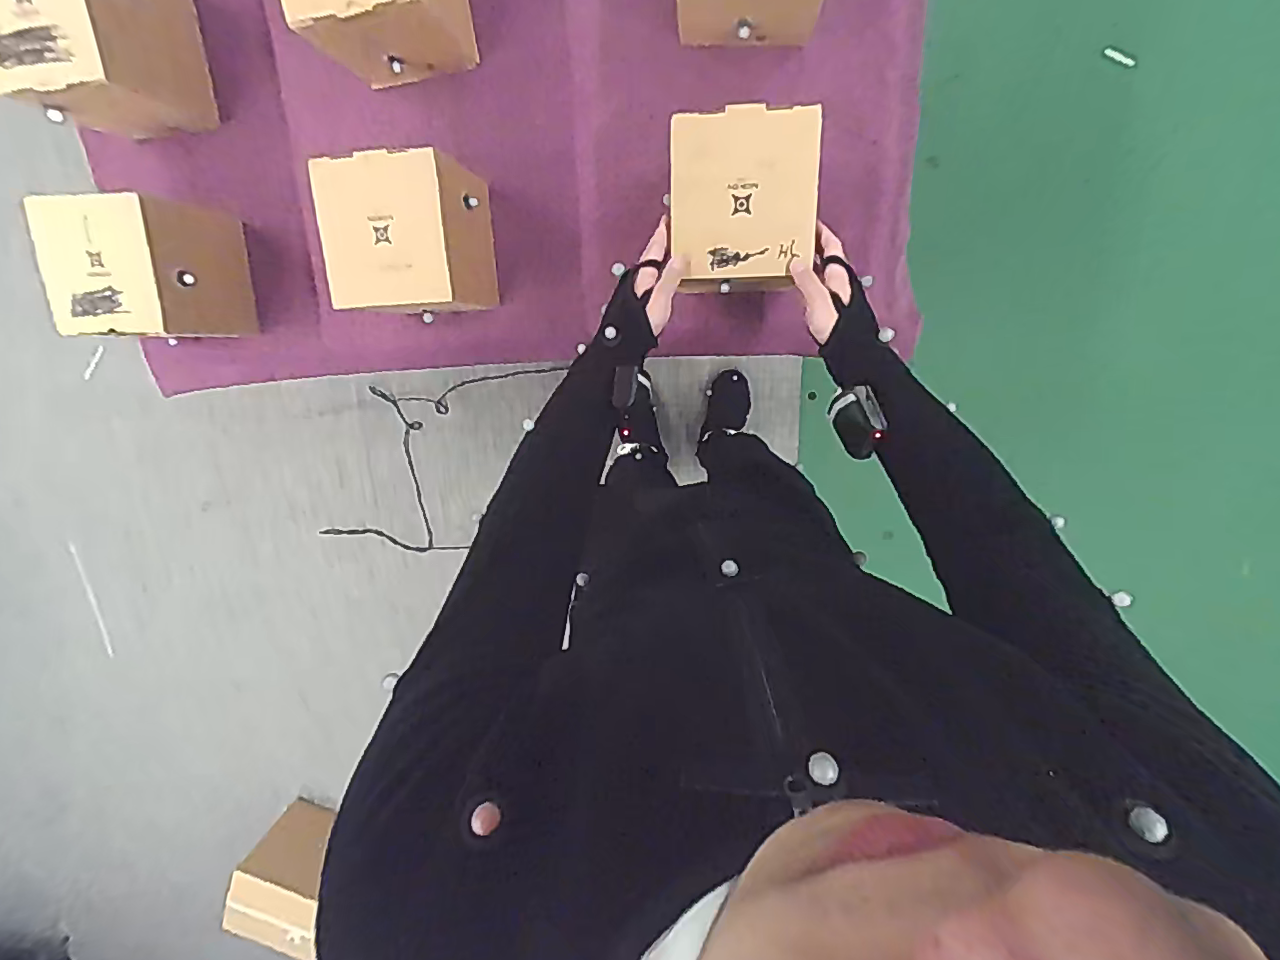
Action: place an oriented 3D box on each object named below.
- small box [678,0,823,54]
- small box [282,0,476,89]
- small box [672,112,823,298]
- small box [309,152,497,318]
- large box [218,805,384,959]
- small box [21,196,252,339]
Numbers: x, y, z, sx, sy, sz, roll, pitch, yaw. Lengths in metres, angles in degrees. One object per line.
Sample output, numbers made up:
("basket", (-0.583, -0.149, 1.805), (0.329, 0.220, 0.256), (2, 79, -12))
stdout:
("small box", (0.130, -0.625, 0.610), (0.168, 0.176, 0.179), (5, 106, 5))
("small box", (-0.321, -0.621, 0.658), (0.168, 0.176, 0.179), (-6, 106, 7))
("small box", (0.126, -0.334, 0.689), (0.168, 0.176, 0.179), (1, 103, 7))
("small box", (-0.308, -0.320, 0.739), (0.168, 0.176, 0.179), (0, 104, 7))
("large box", (-1.258, 1.514, 2.031), (0.408, 0.320, 0.320), (22, 107, -2))
("small box", (-0.704, -0.295, 0.782), (0.168, 0.176, 0.179), (1, 104, 5))
